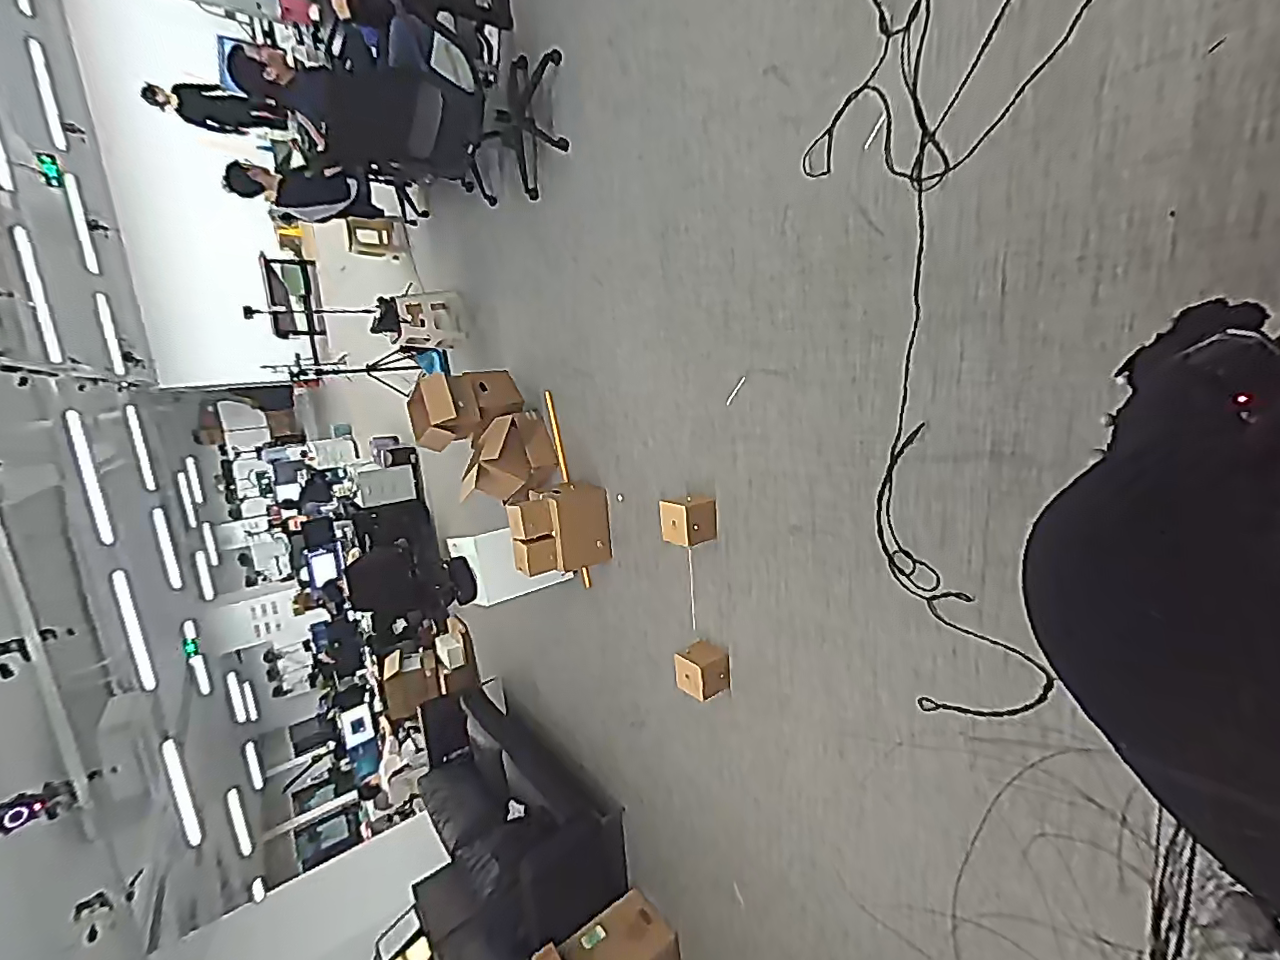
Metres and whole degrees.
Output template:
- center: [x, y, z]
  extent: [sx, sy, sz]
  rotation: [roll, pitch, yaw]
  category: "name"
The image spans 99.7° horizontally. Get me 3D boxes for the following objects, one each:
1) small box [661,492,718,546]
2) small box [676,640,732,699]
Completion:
- center: [0.209, 0.156, 2.263]
  extent: [0.168, 0.176, 0.179]
  rotation: [9, 109, 52]
  category: "small box"
- center: [0.284, 0.827, 2.385]
  extent: [0.179, 0.176, 0.168]
  rotation: [9, 109, 52]
  category: "small box"
